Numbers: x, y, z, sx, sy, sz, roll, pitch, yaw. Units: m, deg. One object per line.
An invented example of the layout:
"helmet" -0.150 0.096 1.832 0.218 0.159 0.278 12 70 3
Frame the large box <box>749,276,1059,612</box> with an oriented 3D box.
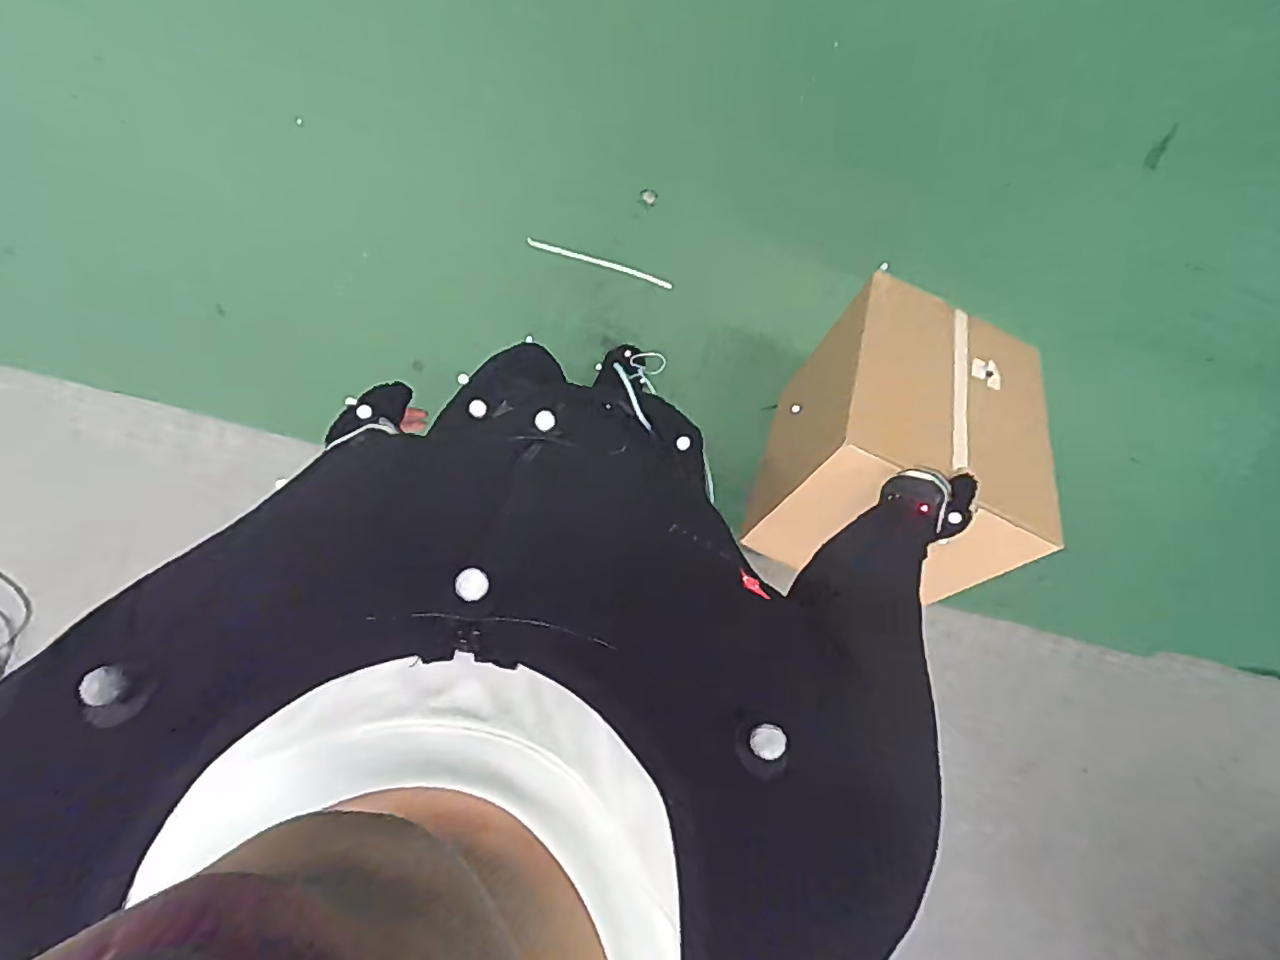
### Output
"large box" 0.420 -0.053 0.915 0.320 0.408 0.320 26 145 -3
